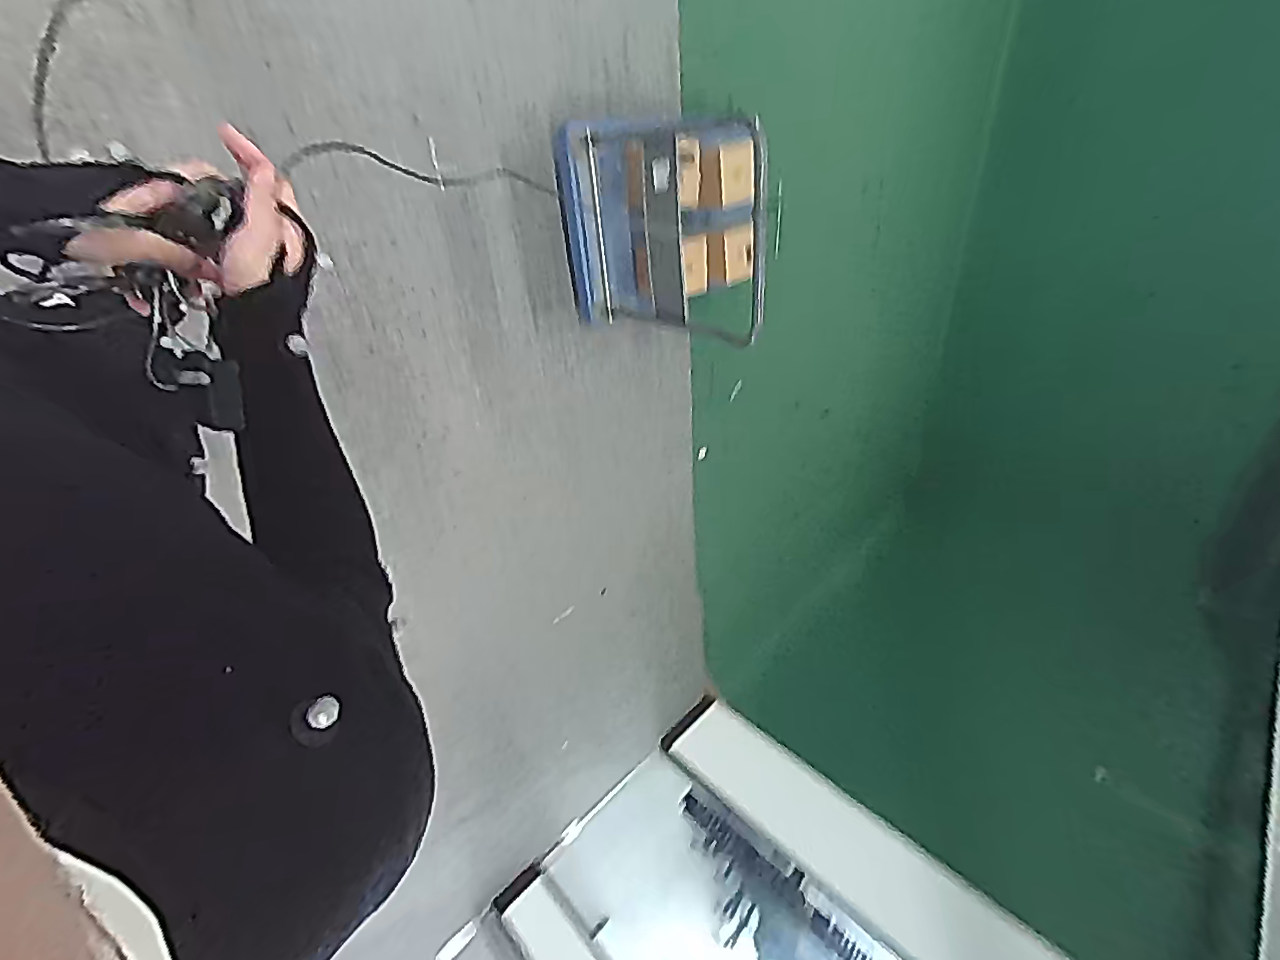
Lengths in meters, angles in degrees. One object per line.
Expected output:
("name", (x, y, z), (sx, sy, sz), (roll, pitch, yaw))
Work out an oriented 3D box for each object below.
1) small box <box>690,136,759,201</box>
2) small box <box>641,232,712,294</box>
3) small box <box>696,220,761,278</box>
("small box", (0.283, -1.055, 1.835), (0.179, 0.176, 0.168), (-33, 130, -31))
("small box", (0.123, -0.737, 1.825), (0.179, 0.176, 0.168), (-28, 127, -33))
("small box", (0.321, -0.847, 1.972), (0.179, 0.176, 0.168), (-32, 128, -30))
